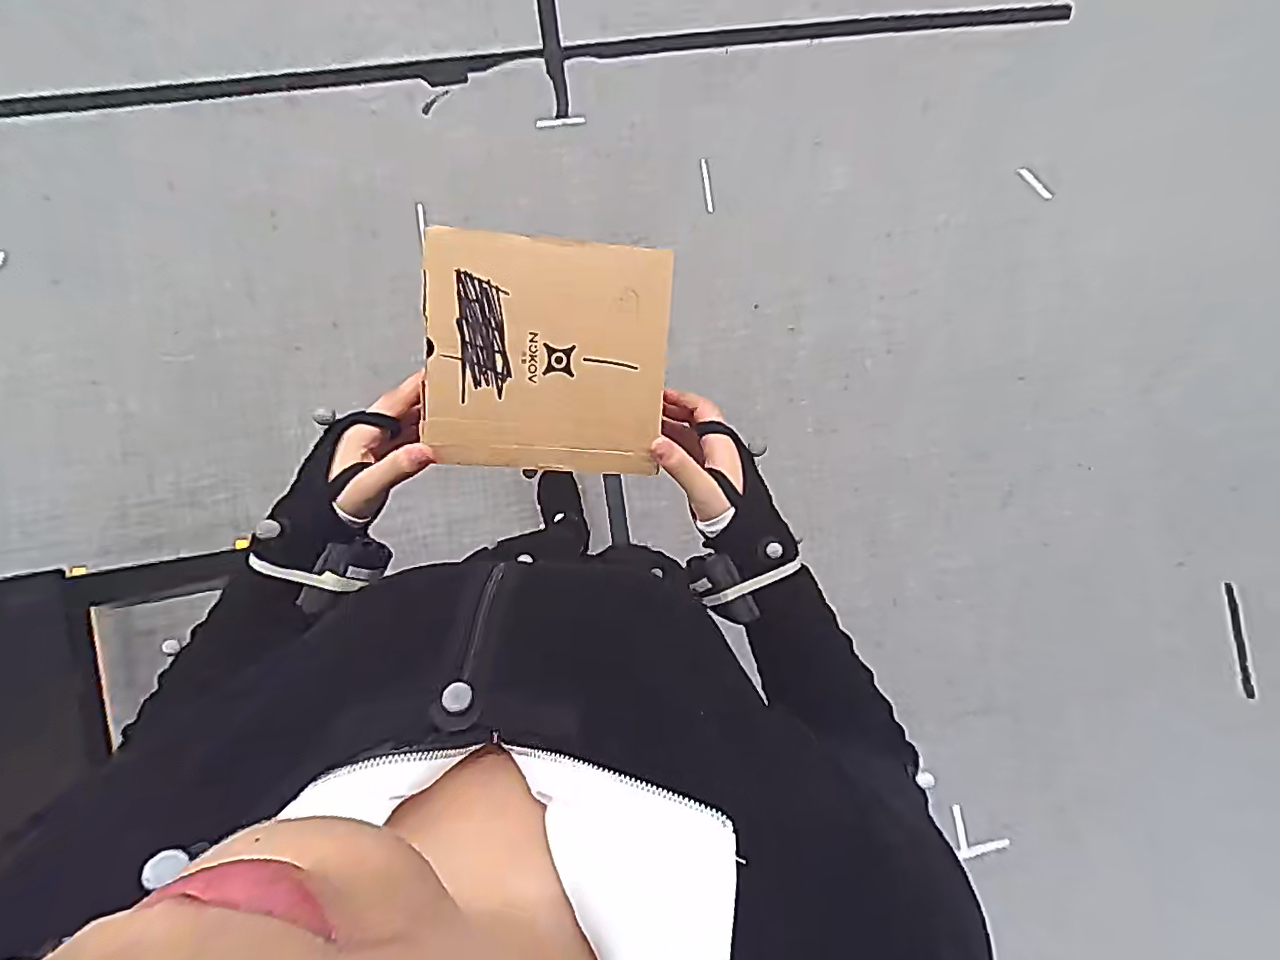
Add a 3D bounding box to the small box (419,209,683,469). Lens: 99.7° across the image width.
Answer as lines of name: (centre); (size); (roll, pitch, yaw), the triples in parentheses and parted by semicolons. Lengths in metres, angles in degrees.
small box: (-0.071, -0.107, 0.457); (0.179, 0.176, 0.168); (4, 100, -7)
